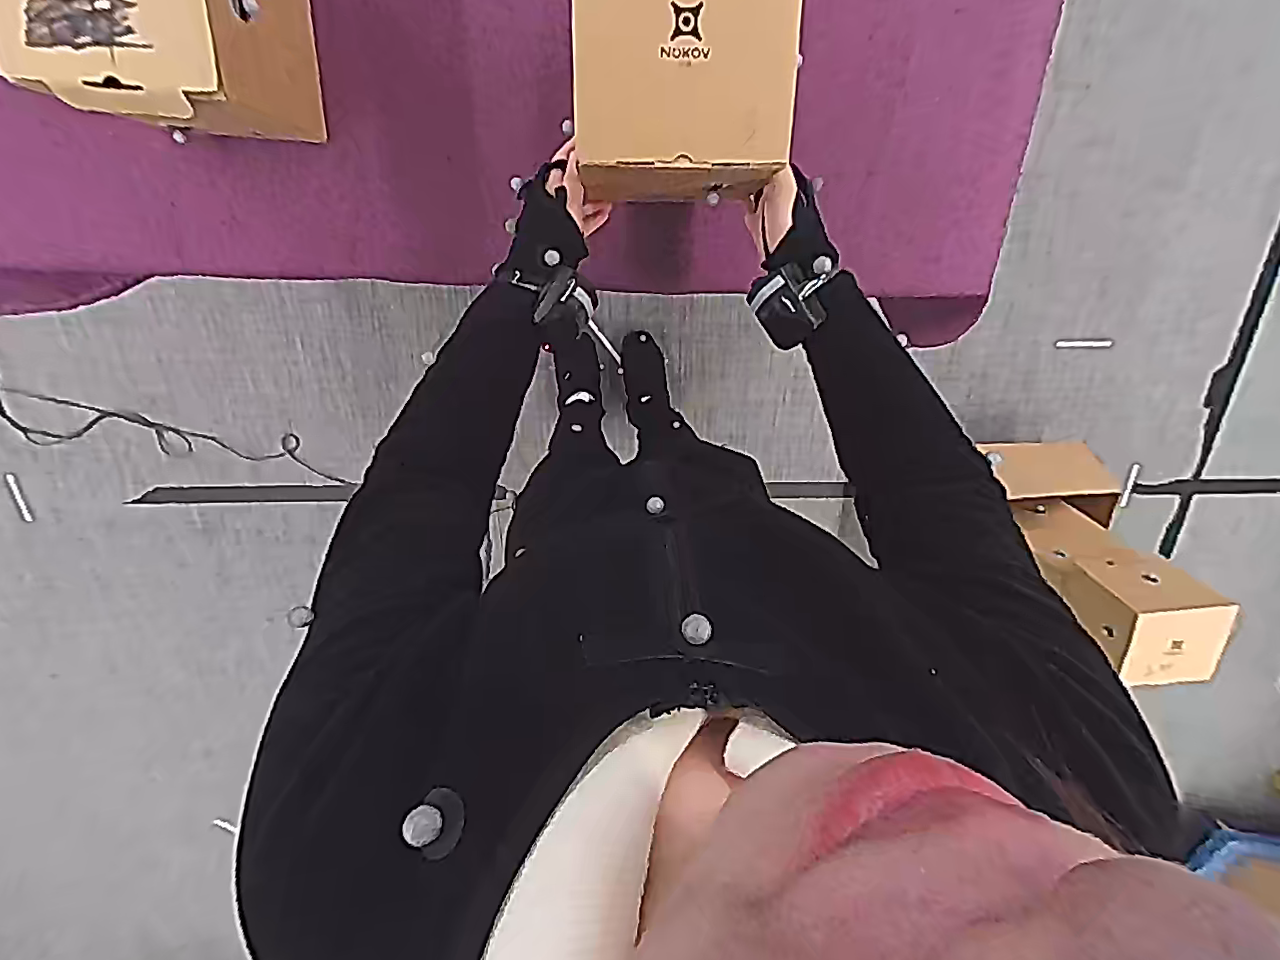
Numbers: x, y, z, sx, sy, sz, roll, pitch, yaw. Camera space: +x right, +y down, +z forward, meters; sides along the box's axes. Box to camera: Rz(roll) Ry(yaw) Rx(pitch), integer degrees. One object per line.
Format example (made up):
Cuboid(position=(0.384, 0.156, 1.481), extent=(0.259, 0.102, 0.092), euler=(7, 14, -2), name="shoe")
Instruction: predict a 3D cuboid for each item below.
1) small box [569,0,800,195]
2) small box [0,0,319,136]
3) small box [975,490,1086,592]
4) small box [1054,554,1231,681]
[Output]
Cuboid(position=(0.030, -0.352, 0.460), extent=(0.168, 0.176, 0.179), euler=(0, 109, -2), name="small box")
Cuboid(position=(-0.404, -0.414, 0.461), extent=(0.168, 0.176, 0.179), euler=(2, 111, -4), name="small box")
Cuboid(position=(0.965, 0.142, 1.348), extent=(0.168, 0.176, 0.179), euler=(-19, 115, 8), name="small box")
Cuboid(position=(0.943, 0.255, 1.038), extent=(0.168, 0.176, 0.179), euler=(-6, 115, 4), name="small box")
